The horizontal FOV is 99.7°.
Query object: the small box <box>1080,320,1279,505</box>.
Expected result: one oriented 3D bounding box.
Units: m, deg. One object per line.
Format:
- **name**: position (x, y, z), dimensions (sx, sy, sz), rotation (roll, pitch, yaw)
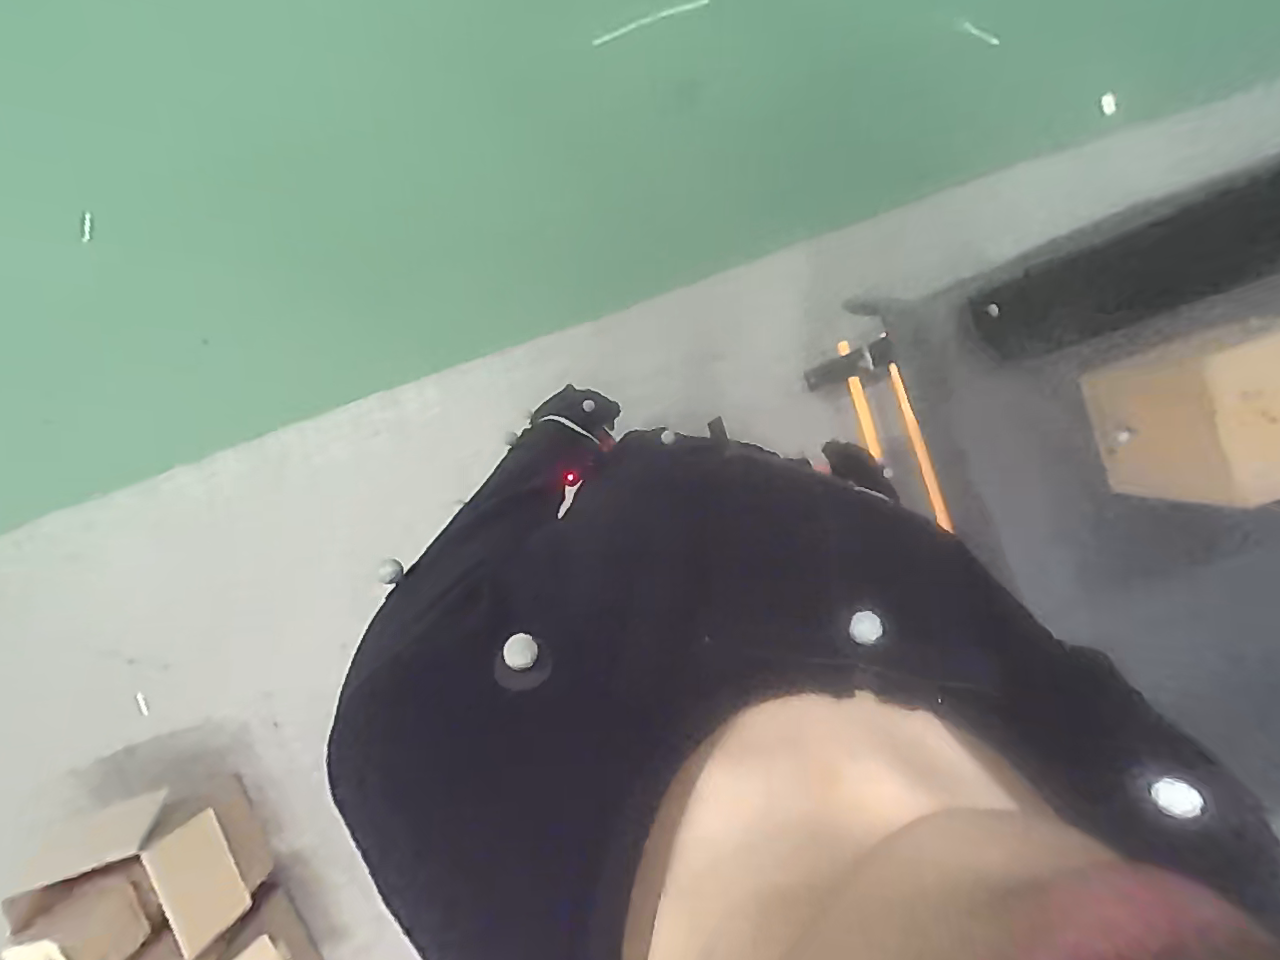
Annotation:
- **small box**: position (0.681, -0.084, 0.635), dimensions (0.179, 0.176, 0.168), rotation (-19, 94, 3)
